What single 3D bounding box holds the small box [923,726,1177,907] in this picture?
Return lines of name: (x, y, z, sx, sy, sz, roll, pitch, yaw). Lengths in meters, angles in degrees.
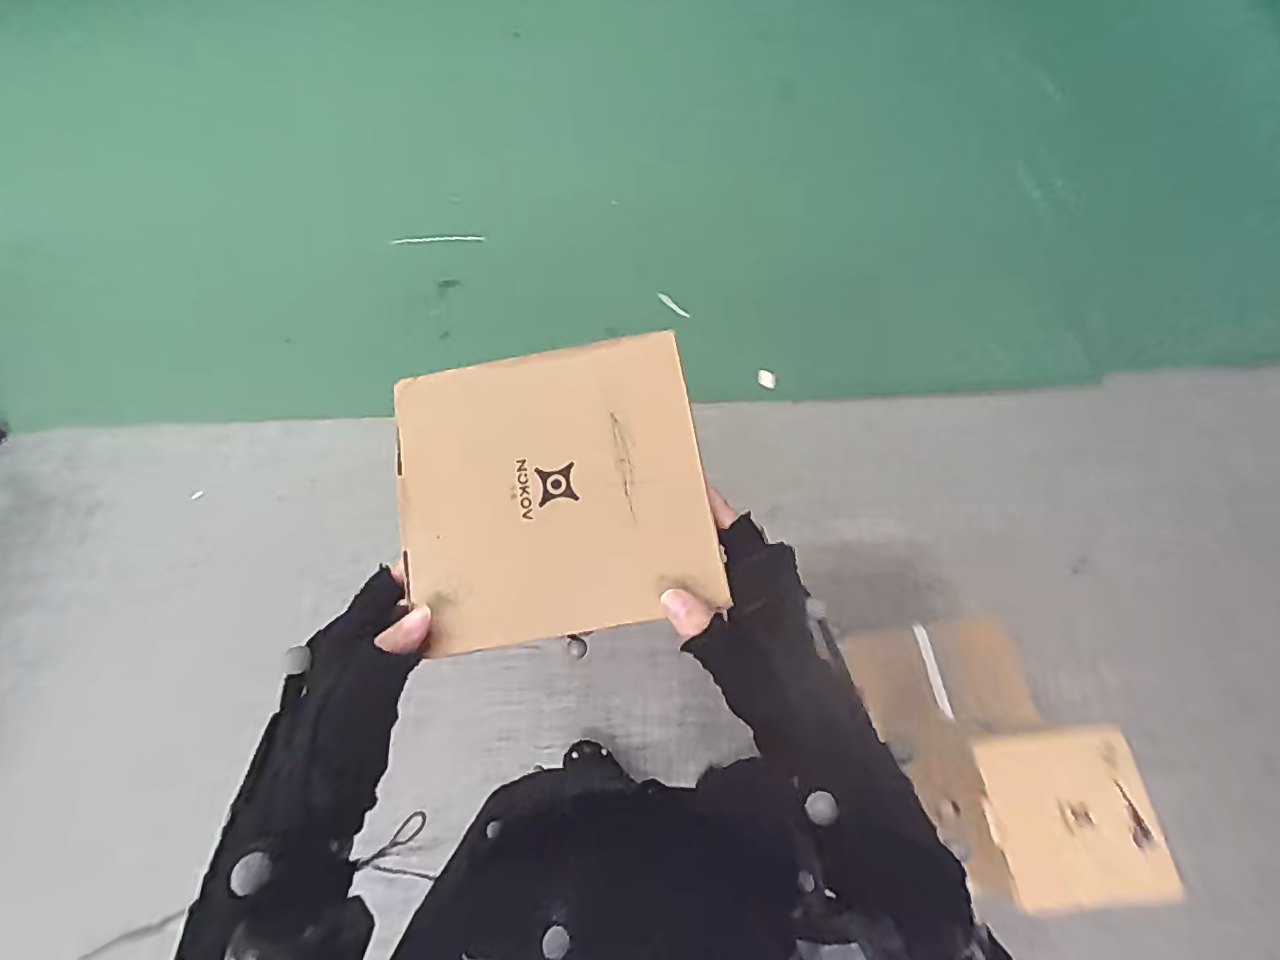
small box: (0.485, 0.409, 0.682, 0.179, 0.176, 0.168, -6, 67, 2)
